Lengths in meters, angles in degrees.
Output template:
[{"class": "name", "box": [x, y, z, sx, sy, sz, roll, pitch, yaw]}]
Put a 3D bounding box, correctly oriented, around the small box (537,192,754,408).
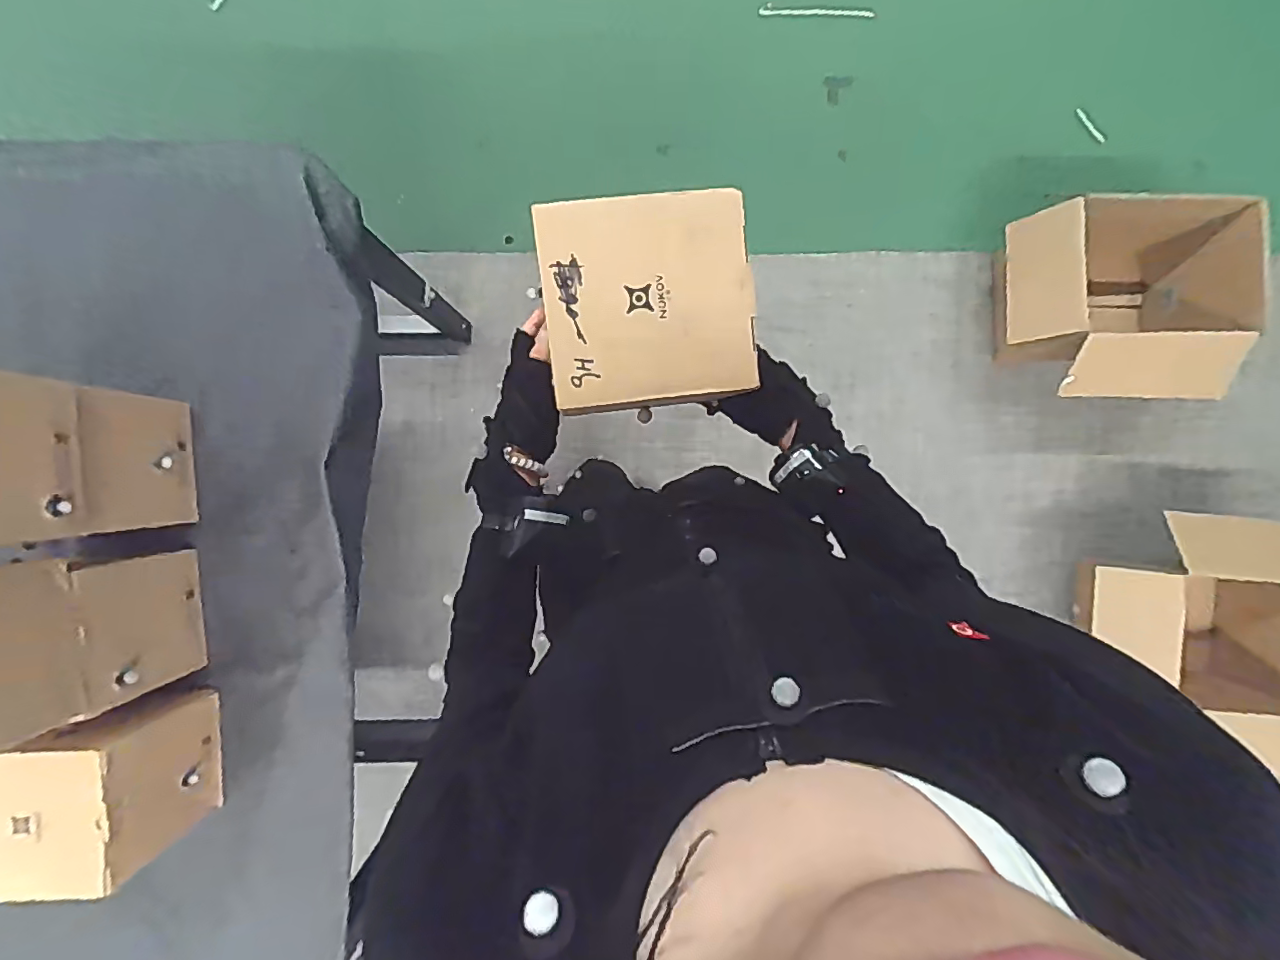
[{"class": "small box", "box": [-0.002, -0.161, 0.531, 0.179, 0.176, 0.168, -6, 95, -6]}]
